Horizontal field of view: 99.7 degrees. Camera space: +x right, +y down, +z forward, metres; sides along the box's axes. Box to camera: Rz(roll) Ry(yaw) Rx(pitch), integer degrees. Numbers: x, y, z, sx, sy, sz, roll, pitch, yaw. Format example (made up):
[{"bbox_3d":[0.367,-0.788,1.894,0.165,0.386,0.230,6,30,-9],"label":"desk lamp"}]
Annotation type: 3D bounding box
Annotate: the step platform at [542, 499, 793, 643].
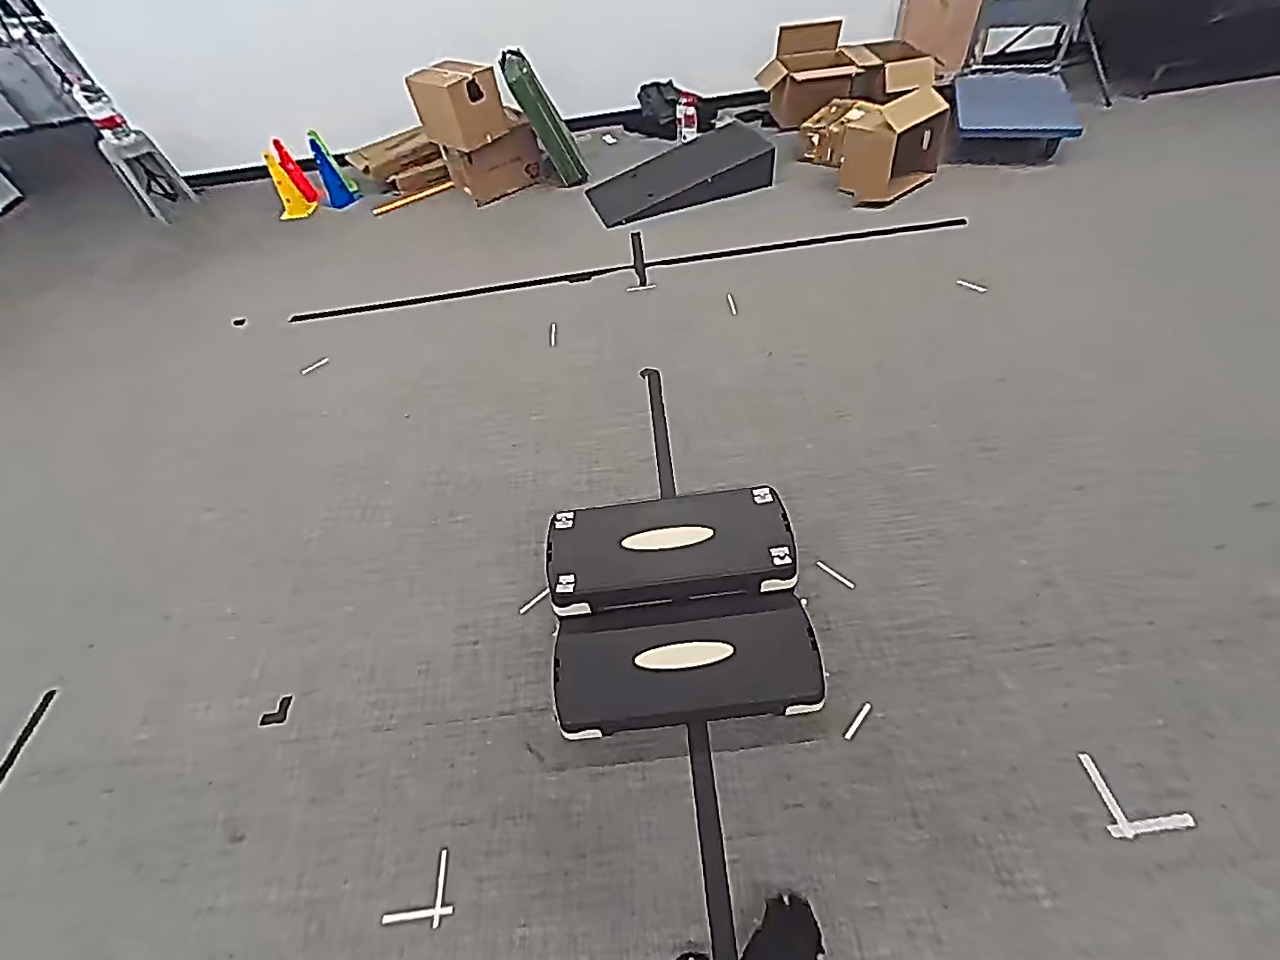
[{"bbox_3d":[0.072,0.250,1.518,0.684,0.204,0.286,-8,51,0],"label":"step platform"}]
